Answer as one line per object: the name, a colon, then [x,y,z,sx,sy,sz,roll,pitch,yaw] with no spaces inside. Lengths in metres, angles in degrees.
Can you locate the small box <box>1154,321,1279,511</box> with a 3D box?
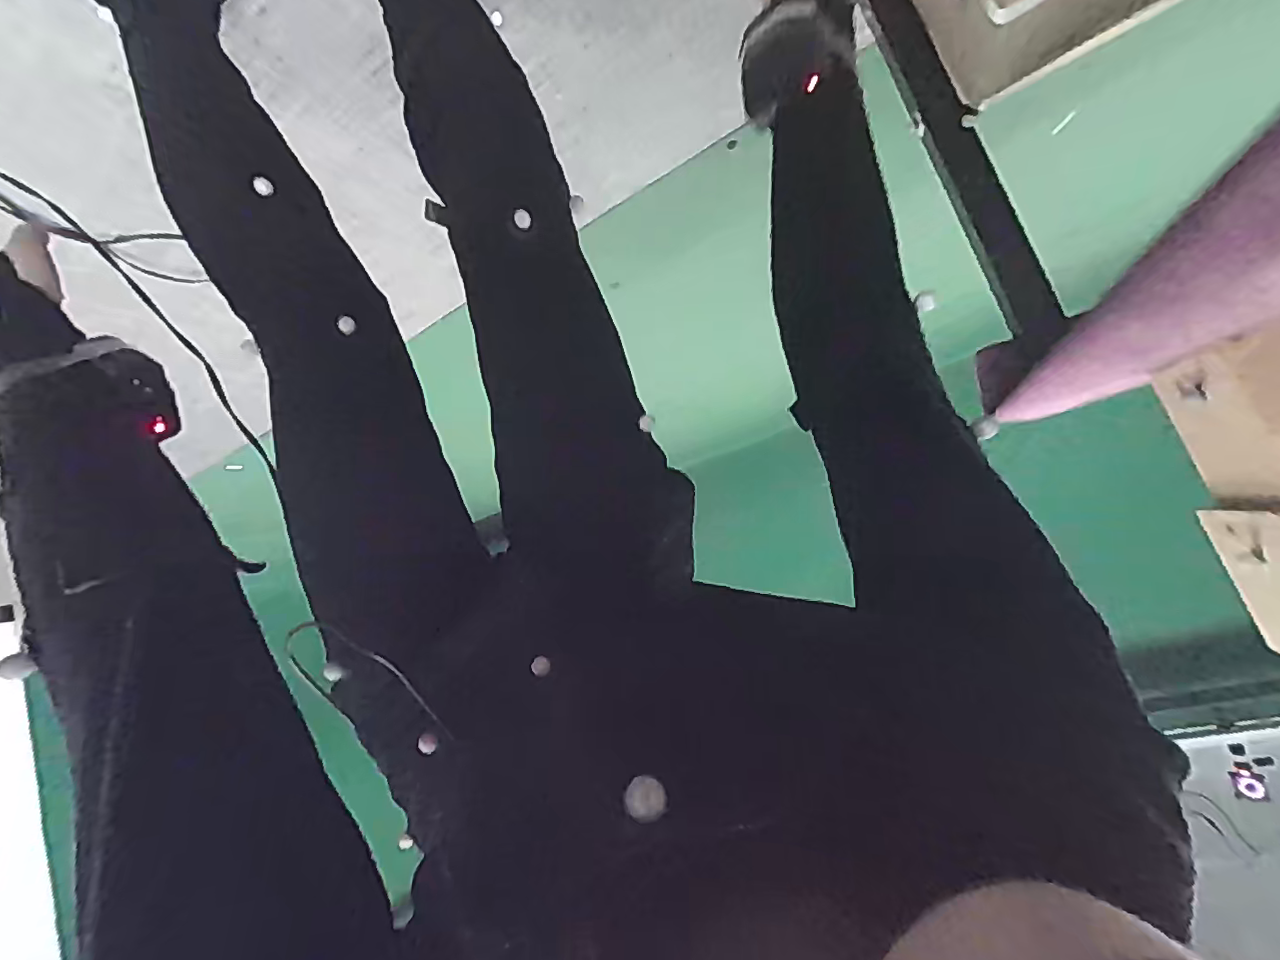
small box: [0.658,-0.078,0.511,0.179,0.176,0.168,-24,167,24]

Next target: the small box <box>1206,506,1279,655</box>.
small box: [0.707,0.080,0.501,0.179,0.176,0.168,-24,167,24]
